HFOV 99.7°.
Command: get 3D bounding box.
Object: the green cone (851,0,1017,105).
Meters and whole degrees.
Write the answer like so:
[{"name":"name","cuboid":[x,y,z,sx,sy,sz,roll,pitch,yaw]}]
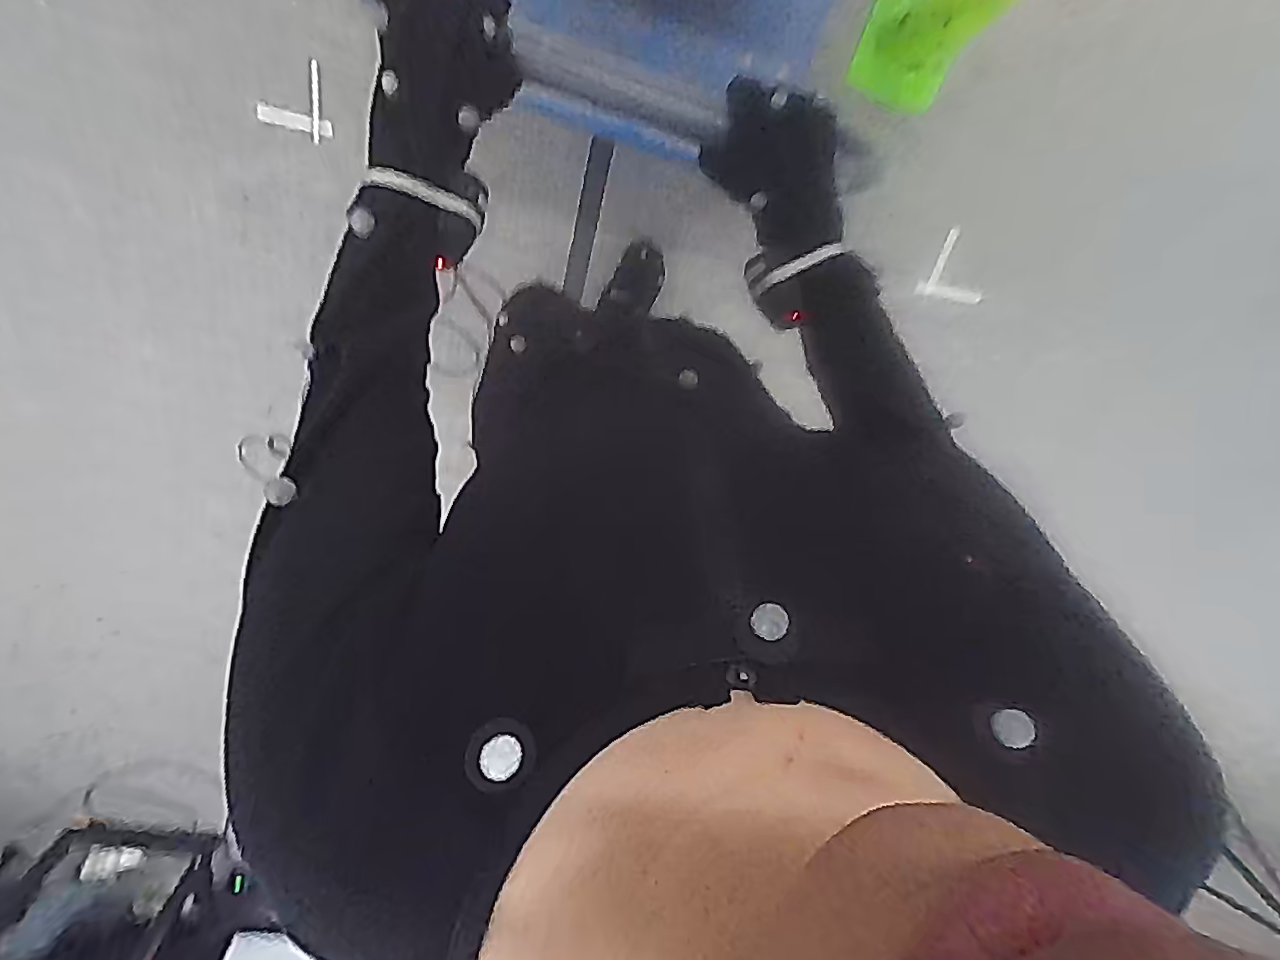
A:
[{"name":"green cone","cuboid":[0.566,-0.833,0.962,0.202,0.368,0.200,15,117,-11]}]
